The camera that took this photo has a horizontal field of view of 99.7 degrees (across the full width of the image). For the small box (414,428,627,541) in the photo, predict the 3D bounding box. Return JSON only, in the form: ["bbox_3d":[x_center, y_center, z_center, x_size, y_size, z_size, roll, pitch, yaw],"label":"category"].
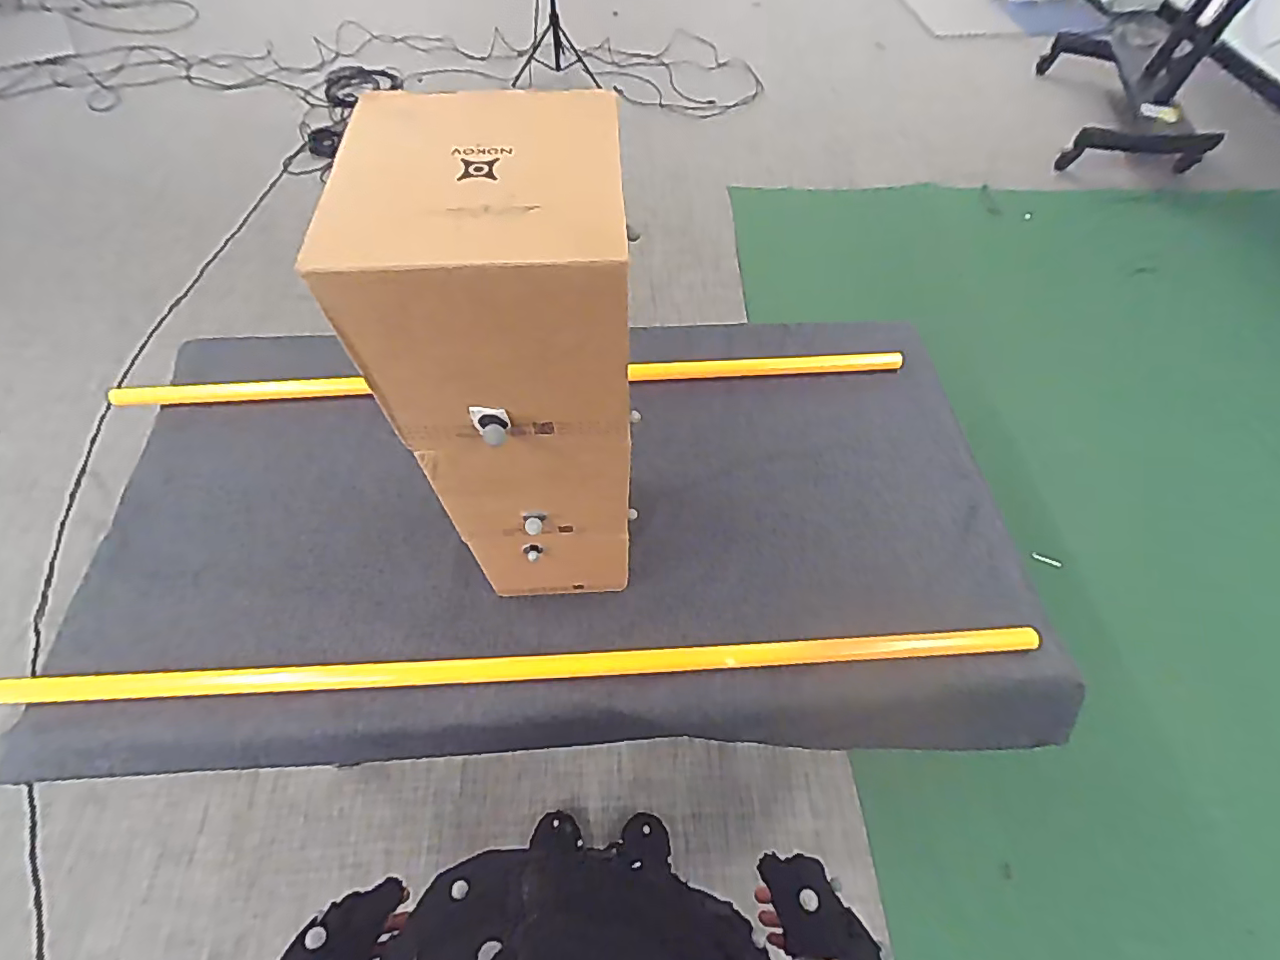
[{"bbox_3d":[-0.101,-0.056,0.529,0.168,0.176,0.179,-3,60,-4],"label":"small box"}]

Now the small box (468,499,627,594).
[{"bbox_3d":[-0.103,0.028,0.670,0.168,0.176,0.179,-3,59,-3],"label":"small box"}]

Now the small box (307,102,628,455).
[{"bbox_3d":[-0.096,-0.137,0.389,0.168,0.176,0.179,-4,60,-3],"label":"small box"}]
